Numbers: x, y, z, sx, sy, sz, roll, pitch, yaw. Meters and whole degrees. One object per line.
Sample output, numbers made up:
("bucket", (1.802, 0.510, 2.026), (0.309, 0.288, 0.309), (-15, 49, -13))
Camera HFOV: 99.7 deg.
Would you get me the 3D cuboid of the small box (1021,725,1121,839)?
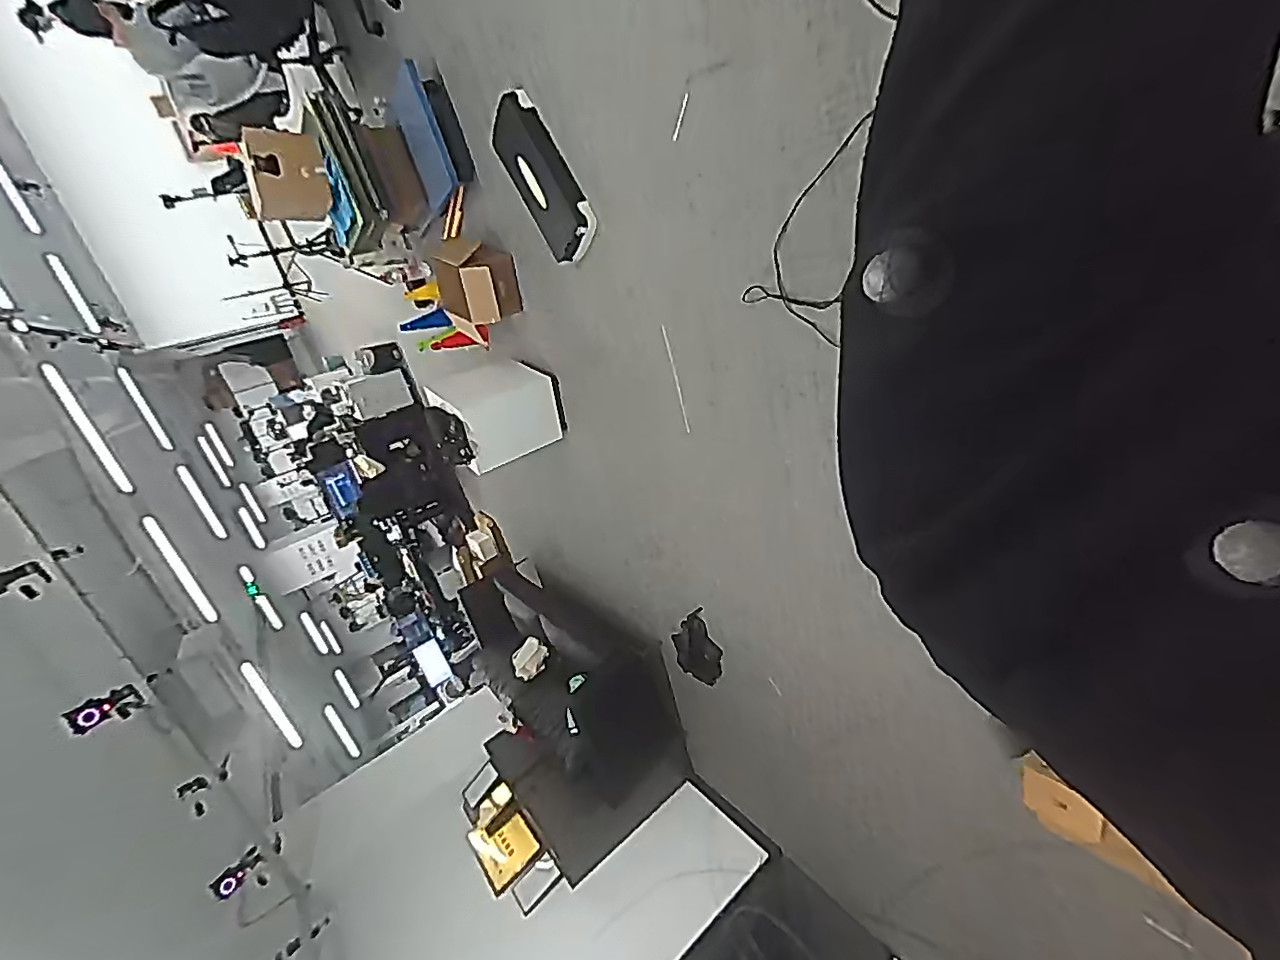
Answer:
("small box", (1.173, 0.811, 1.473), (0.179, 0.176, 0.168), (16, 128, 54))
